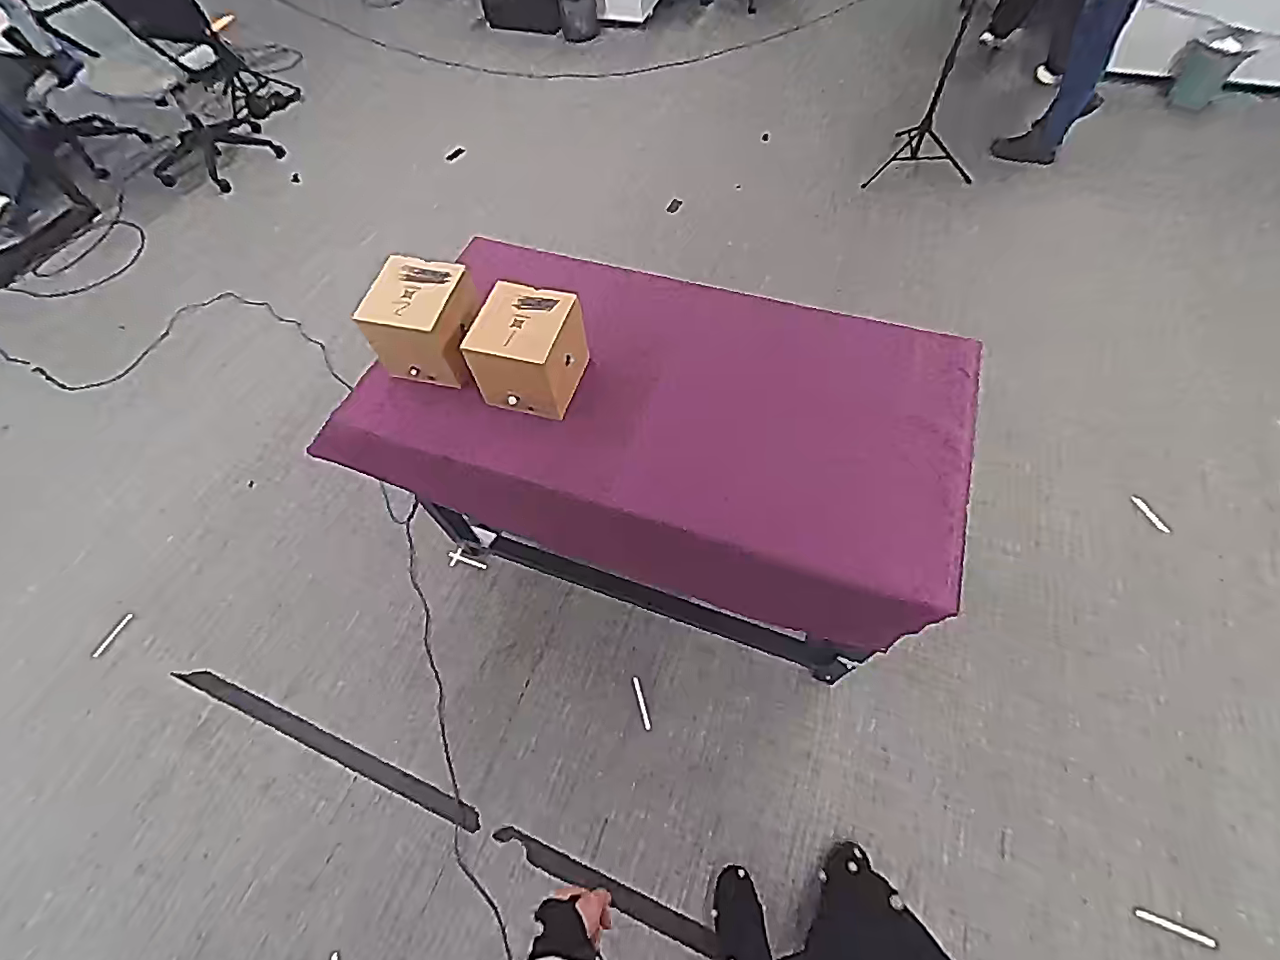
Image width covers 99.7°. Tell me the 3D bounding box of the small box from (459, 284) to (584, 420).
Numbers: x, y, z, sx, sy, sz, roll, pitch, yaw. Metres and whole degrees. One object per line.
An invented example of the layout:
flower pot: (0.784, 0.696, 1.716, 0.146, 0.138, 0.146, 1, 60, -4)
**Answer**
small box: (-0.215, -0.244, 1.045, 0.168, 0.176, 0.179, 13, 62, 11)
